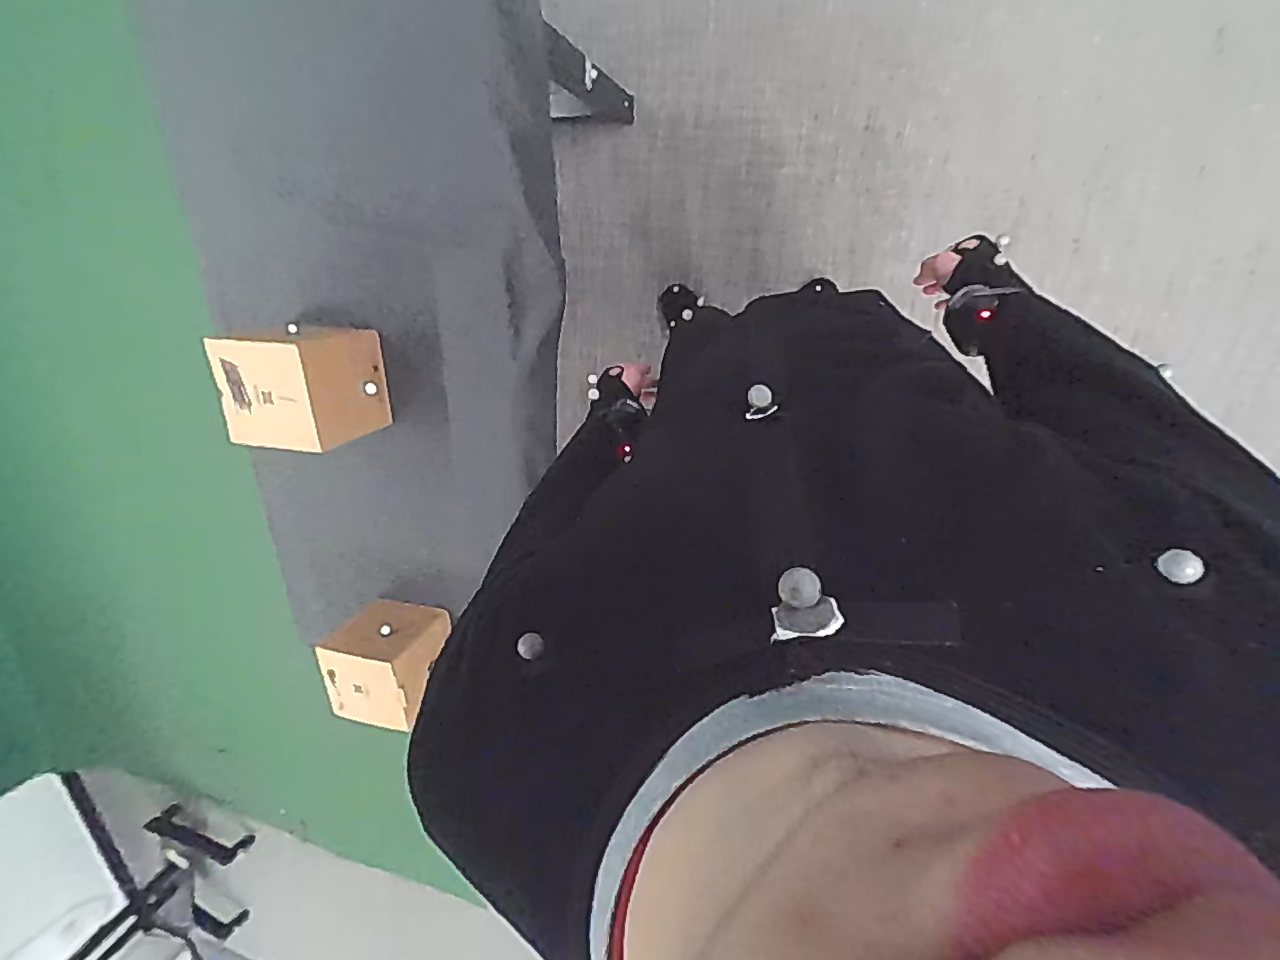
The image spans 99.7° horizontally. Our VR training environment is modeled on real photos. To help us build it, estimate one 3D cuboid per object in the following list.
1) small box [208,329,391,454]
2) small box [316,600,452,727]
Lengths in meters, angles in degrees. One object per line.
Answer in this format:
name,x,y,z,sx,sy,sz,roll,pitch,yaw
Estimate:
small box,-0.547,-0.154,0.891,0.179,0.176,0.168,6,113,12
small box,-0.499,0.360,1.088,0.179,0.176,0.168,5,112,14
